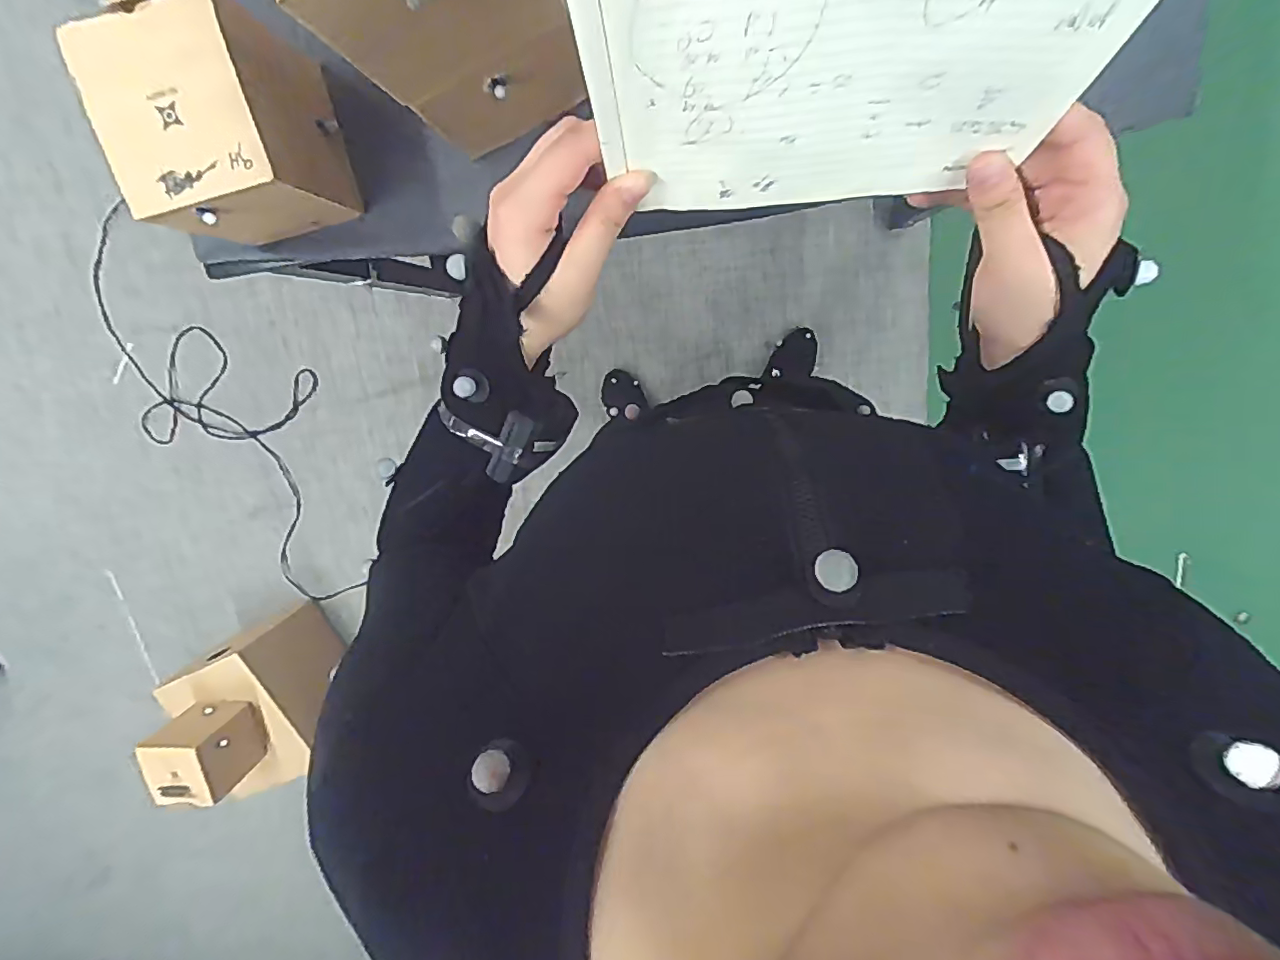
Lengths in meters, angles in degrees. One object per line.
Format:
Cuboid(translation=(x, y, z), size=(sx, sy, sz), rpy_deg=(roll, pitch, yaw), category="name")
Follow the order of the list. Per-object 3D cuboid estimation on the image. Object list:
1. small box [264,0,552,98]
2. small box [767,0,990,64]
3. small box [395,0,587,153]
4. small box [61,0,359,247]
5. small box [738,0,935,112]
Cuboid(translation=(-0.190, -0.435, 0.406), size=(0.179, 0.176, 0.168), rpy_deg=(-20, 103, 10), category="small box")
Cuboid(translation=(0.184, -0.433, 0.373), size=(0.179, 0.176, 0.168), rpy_deg=(-7, 104, 8), category="small box")
Cuboid(translation=(-0.176, -0.480, 0.564), size=(0.179, 0.176, 0.168), rpy_deg=(-23, 103, 11), category="small box")
Cuboid(translation=(-0.461, -0.385, 0.611), size=(0.168, 0.176, 0.179), rpy_deg=(-11, 103, 8), category="small box")
Cuboid(translation=(0.194, -0.497, 0.524), size=(0.168, 0.176, 0.179), rpy_deg=(9, 106, 3), category="small box")
